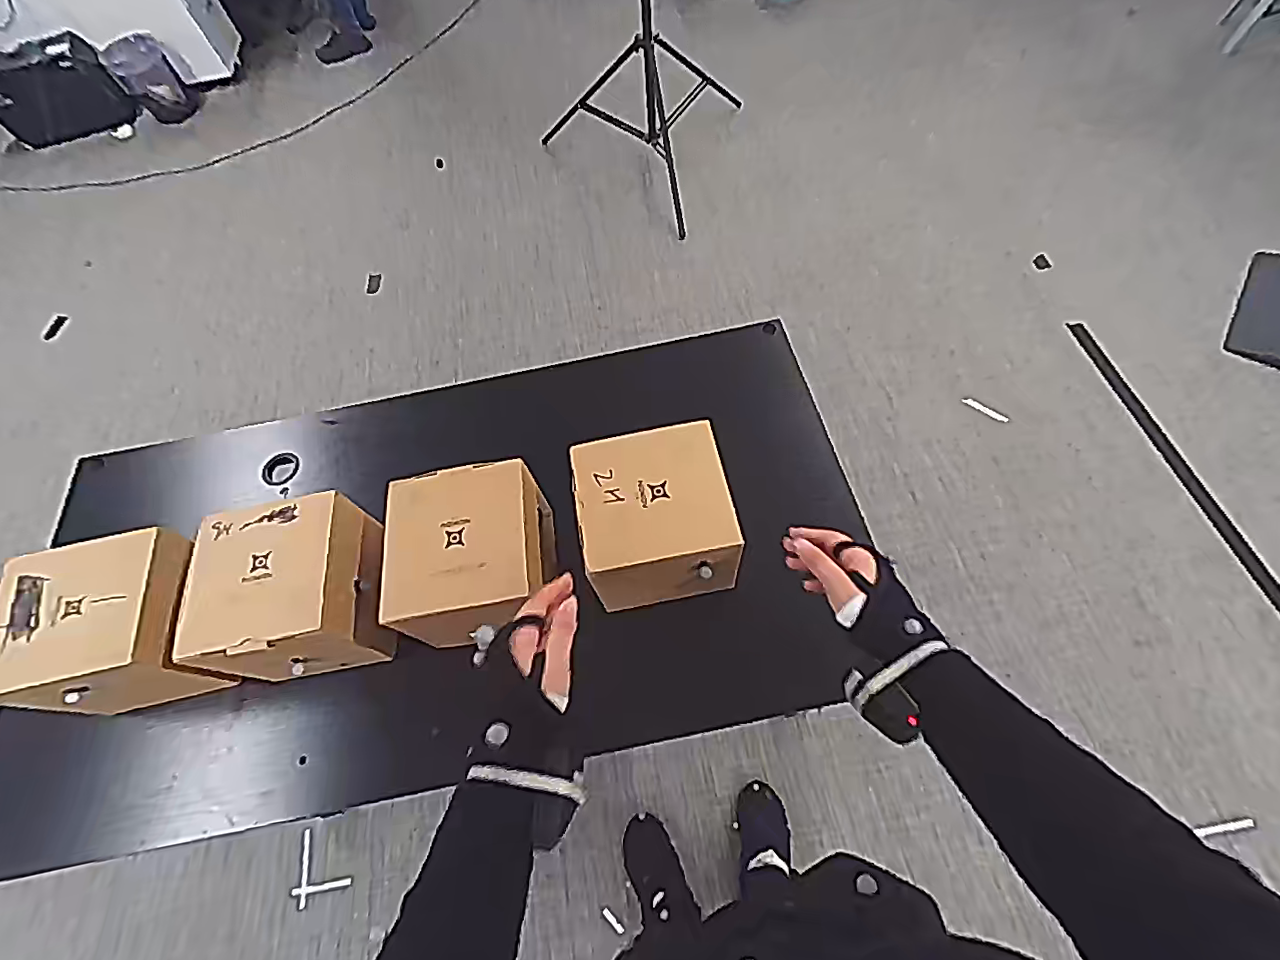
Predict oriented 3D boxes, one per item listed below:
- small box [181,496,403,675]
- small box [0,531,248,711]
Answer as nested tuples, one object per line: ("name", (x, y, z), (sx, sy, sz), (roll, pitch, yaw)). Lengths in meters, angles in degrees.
("small box", (-0.423, 0.145, 0.693), (0.168, 0.176, 0.179), (-11, 62, 1))
("small box", (-0.634, 0.187, 0.690), (0.179, 0.176, 0.168), (-13, 62, -3))
